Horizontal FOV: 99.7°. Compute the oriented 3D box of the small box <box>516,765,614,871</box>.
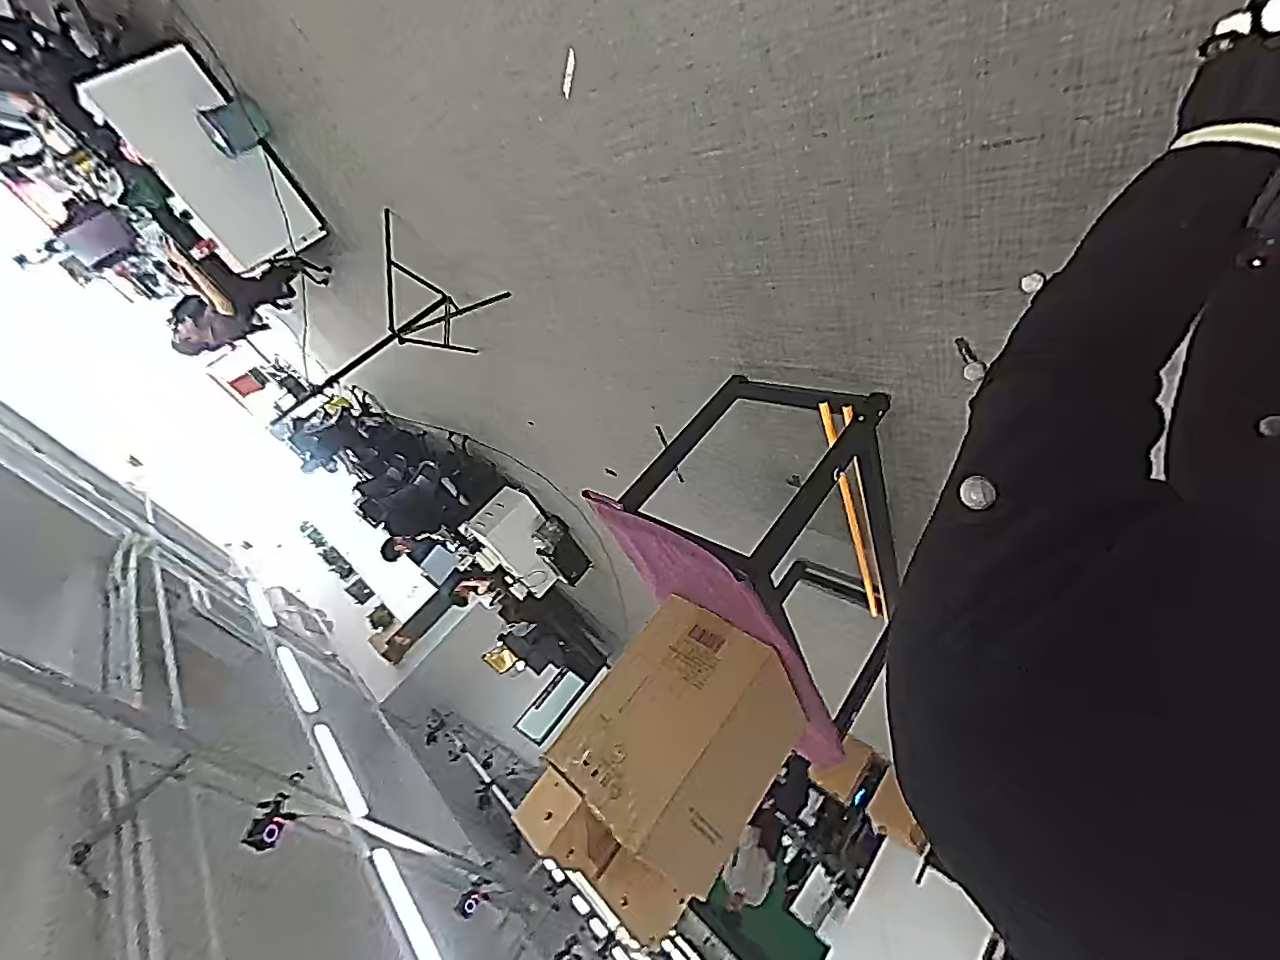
[{"bbox_3d":[-0.208,0.946,1.524,0.168,0.176,0.179,16,149,48],"label":"small box"}]
